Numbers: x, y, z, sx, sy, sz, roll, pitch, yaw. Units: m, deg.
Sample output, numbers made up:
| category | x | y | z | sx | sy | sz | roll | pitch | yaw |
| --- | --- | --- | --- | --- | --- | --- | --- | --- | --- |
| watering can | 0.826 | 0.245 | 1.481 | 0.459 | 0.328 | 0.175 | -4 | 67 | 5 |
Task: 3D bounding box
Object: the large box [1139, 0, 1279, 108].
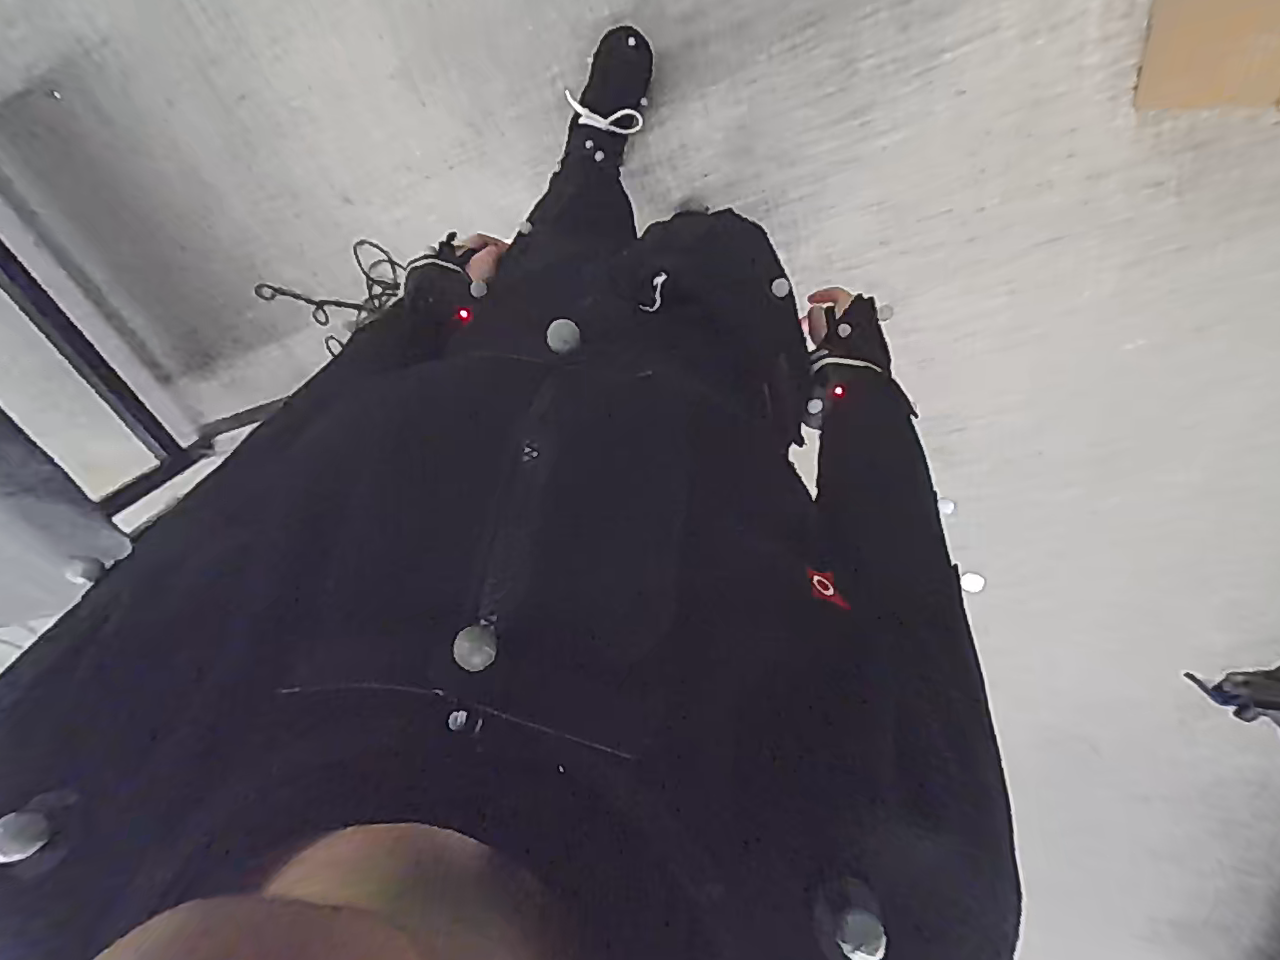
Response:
| category | x | y | z | sx | sy | sz | roll | pitch | yaw |
| --- | --- | --- | --- | --- | --- | --- | --- | --- | --- |
| large box | 0.925 | -0.744 | 0.671 | 0.320 | 0.320 | 0.408 | -8 | 123 | 16 |
